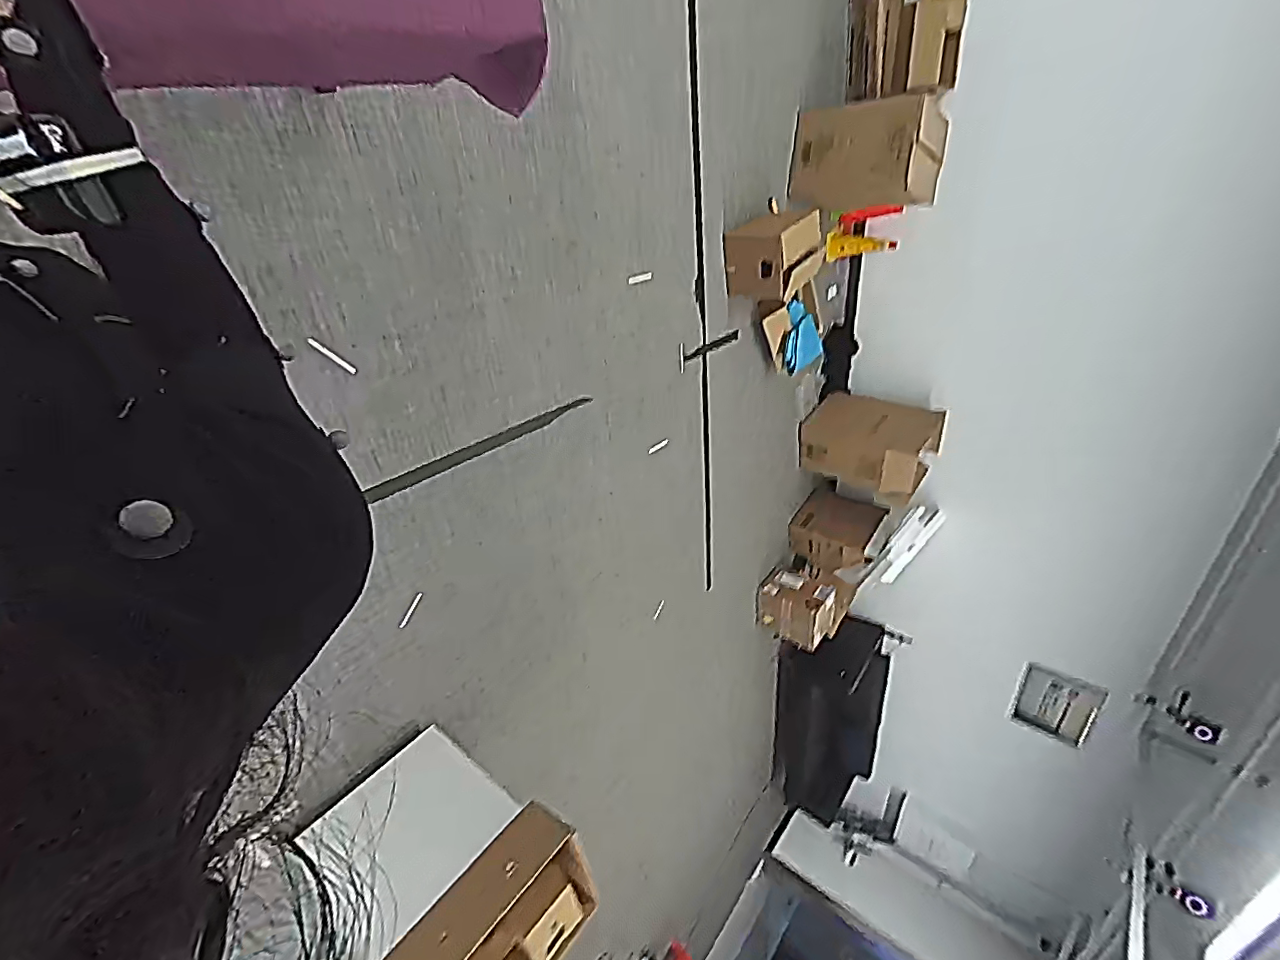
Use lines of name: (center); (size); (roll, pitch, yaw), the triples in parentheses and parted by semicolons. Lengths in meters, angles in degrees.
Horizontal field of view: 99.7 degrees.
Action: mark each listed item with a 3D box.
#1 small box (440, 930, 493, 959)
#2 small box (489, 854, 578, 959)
small box: (-0.460, 1.356, 1.418); (0.179, 0.176, 0.168); (-35, 126, -42)
small box: (-0.310, 1.243, 1.570); (0.168, 0.176, 0.179); (-34, 124, -40)
